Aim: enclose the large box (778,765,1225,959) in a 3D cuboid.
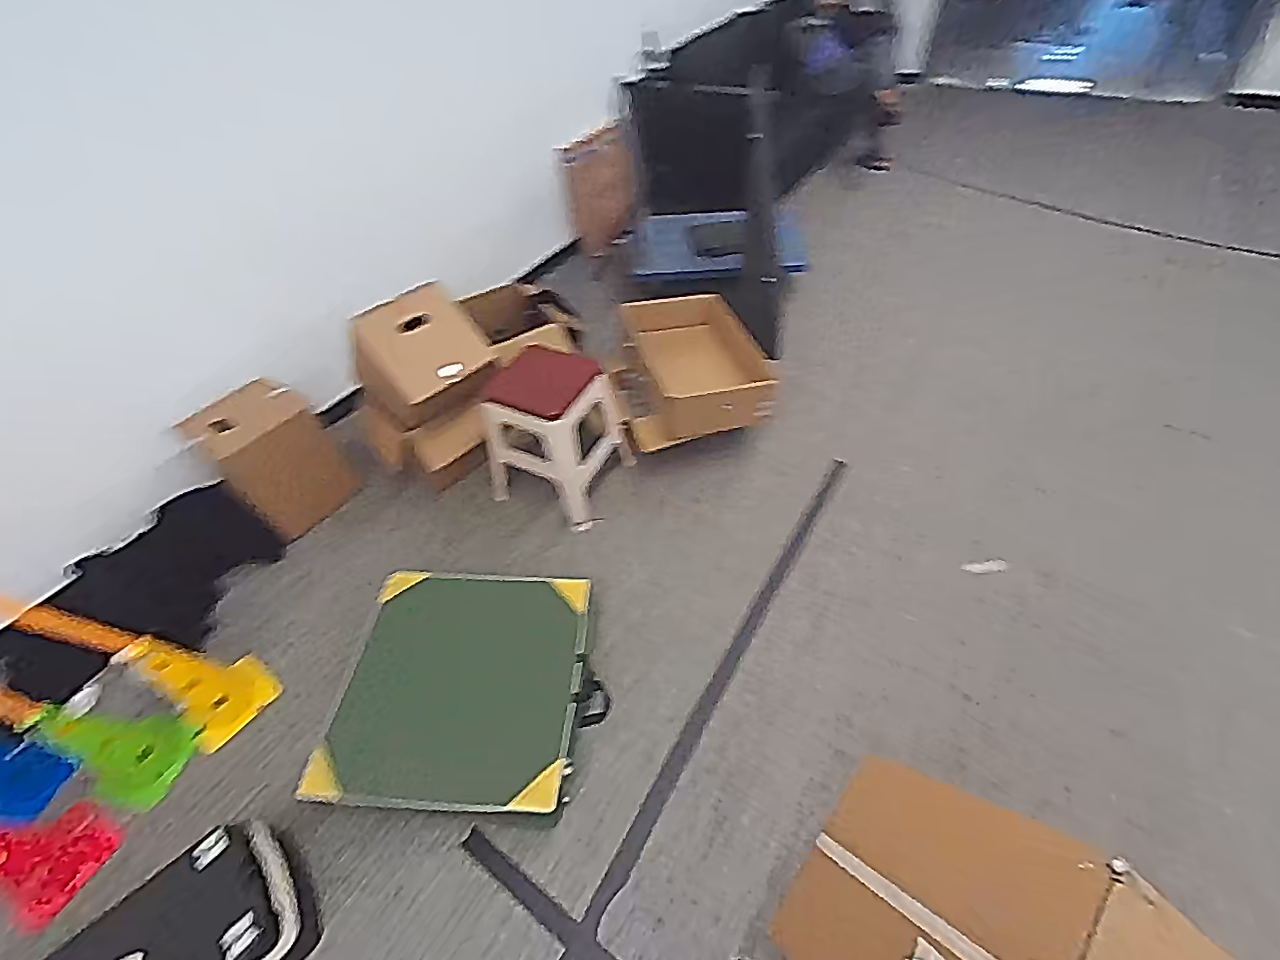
[{"bbox_3d":[0.454,0.636,0.668,0.320,0.408,0.320,41,73,-2],"label":"large box"}]
